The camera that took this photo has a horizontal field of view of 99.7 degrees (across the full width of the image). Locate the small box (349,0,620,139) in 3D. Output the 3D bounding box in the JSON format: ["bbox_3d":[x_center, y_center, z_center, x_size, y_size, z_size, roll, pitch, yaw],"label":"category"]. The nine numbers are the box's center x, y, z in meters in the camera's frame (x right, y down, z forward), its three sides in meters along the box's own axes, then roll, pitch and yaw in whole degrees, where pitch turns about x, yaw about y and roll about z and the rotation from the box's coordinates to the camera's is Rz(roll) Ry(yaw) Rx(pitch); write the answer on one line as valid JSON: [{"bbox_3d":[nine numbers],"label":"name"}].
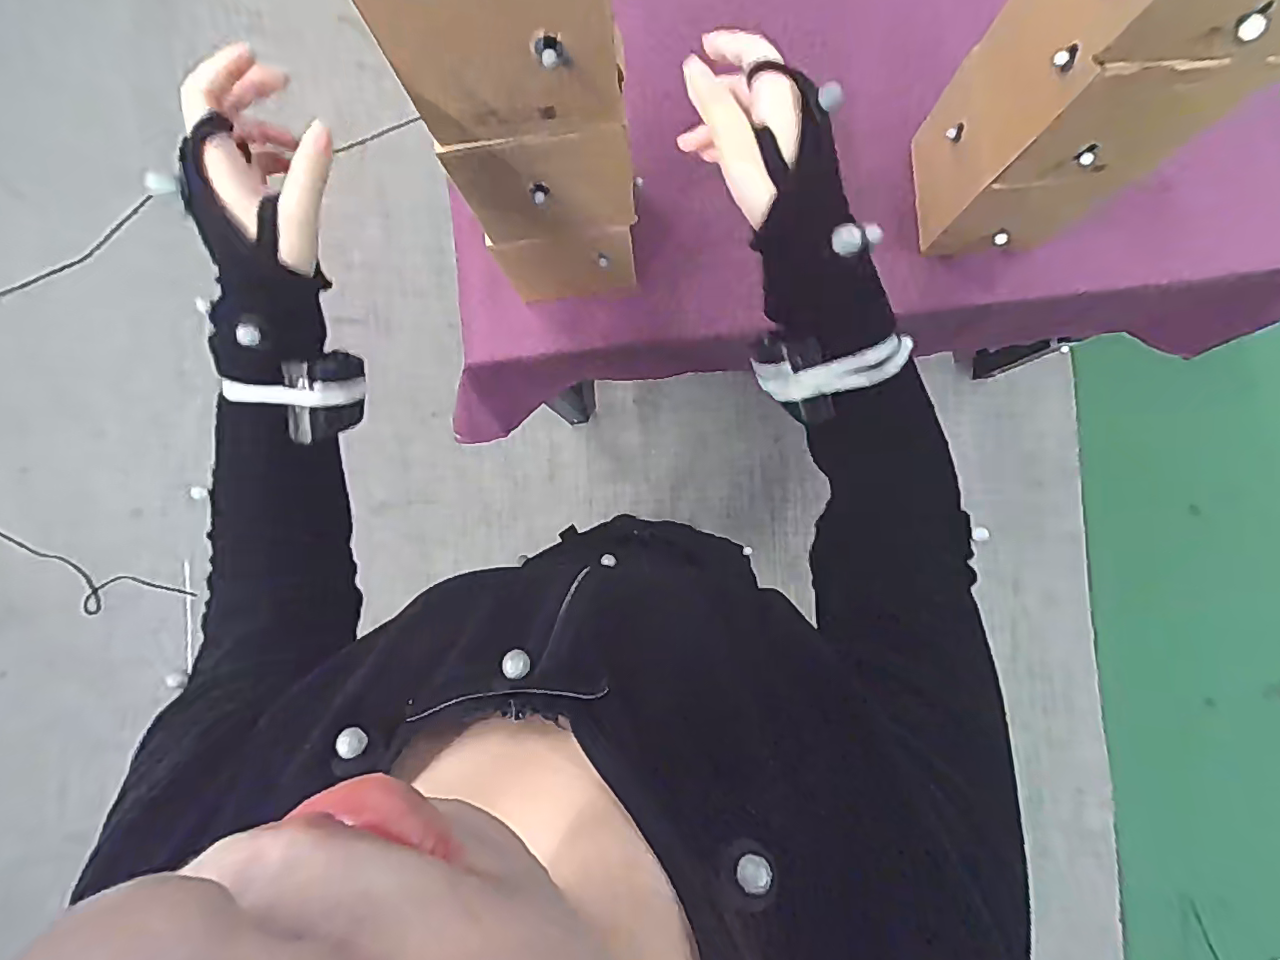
[{"bbox_3d":[-0.105,-0.387,0.404,0.168,0.176,0.179,-4,86,1],"label":"small box"}]

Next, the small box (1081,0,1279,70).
[{"bbox_3d":[0.460,-0.428,0.378,0.179,0.176,0.168,-1,87,2],"label":"small box"}]

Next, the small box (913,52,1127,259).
[{"bbox_3d":[0.475,-0.413,0.704,0.168,0.176,0.179,-3,87,3],"label":"small box"}]

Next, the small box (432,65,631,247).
[{"bbox_3d":[-0.104,-0.369,0.566,0.179,0.176,0.168,-8,86,2],"label":"small box"}]

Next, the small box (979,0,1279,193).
[{"bbox_3d":[0.469,-0.422,0.542,0.168,0.176,0.179,-3,88,3],"label":"small box"}]
